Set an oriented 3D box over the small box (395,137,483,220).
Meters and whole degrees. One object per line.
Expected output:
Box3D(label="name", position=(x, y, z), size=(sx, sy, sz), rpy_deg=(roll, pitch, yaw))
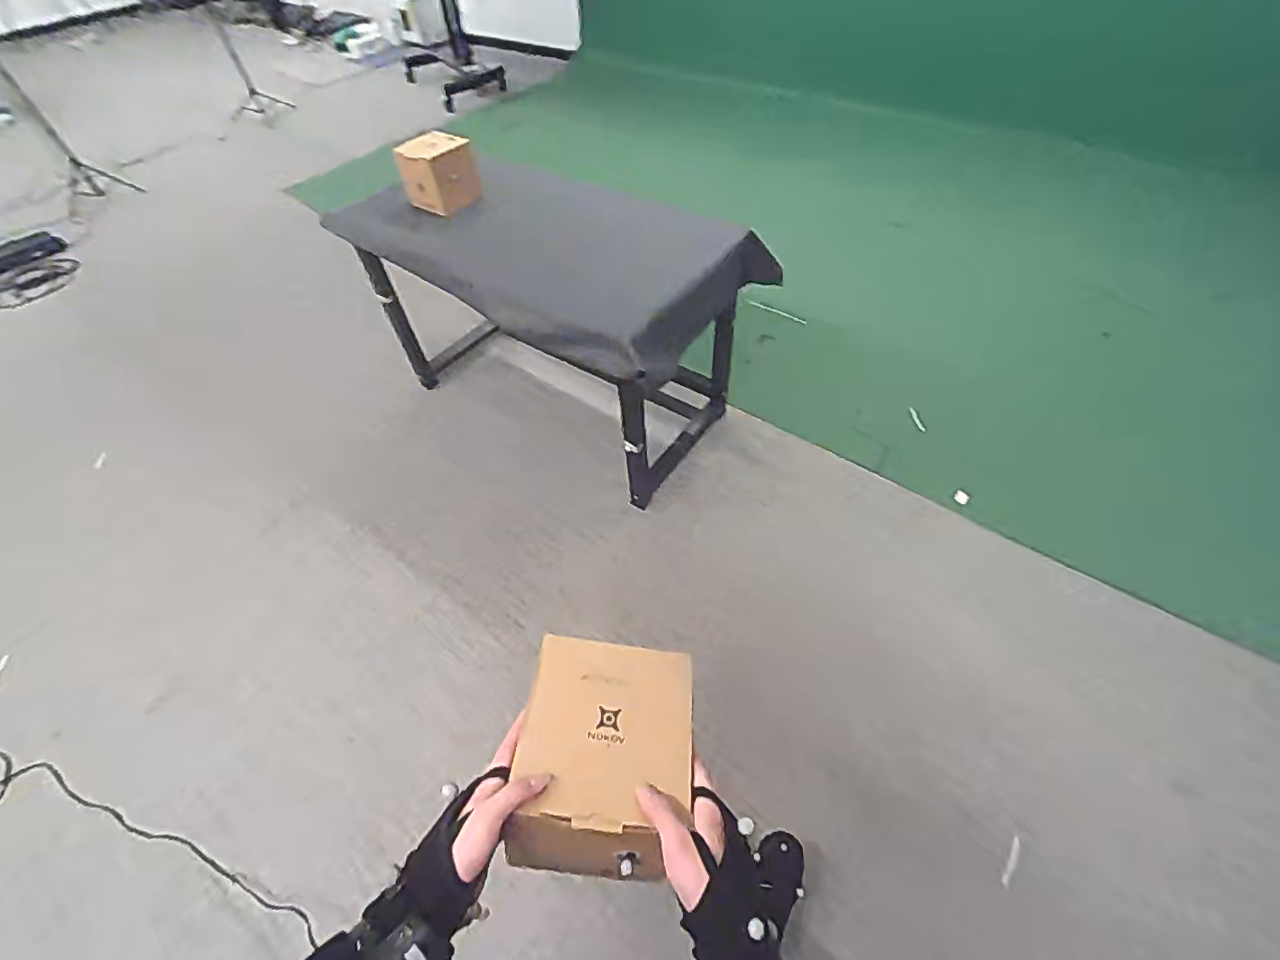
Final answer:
Box3D(label="small box", position=(-0.632, -0.961, 1.727), size=(0.168, 0.176, 0.179), rpy_deg=(28, 59, 22))
